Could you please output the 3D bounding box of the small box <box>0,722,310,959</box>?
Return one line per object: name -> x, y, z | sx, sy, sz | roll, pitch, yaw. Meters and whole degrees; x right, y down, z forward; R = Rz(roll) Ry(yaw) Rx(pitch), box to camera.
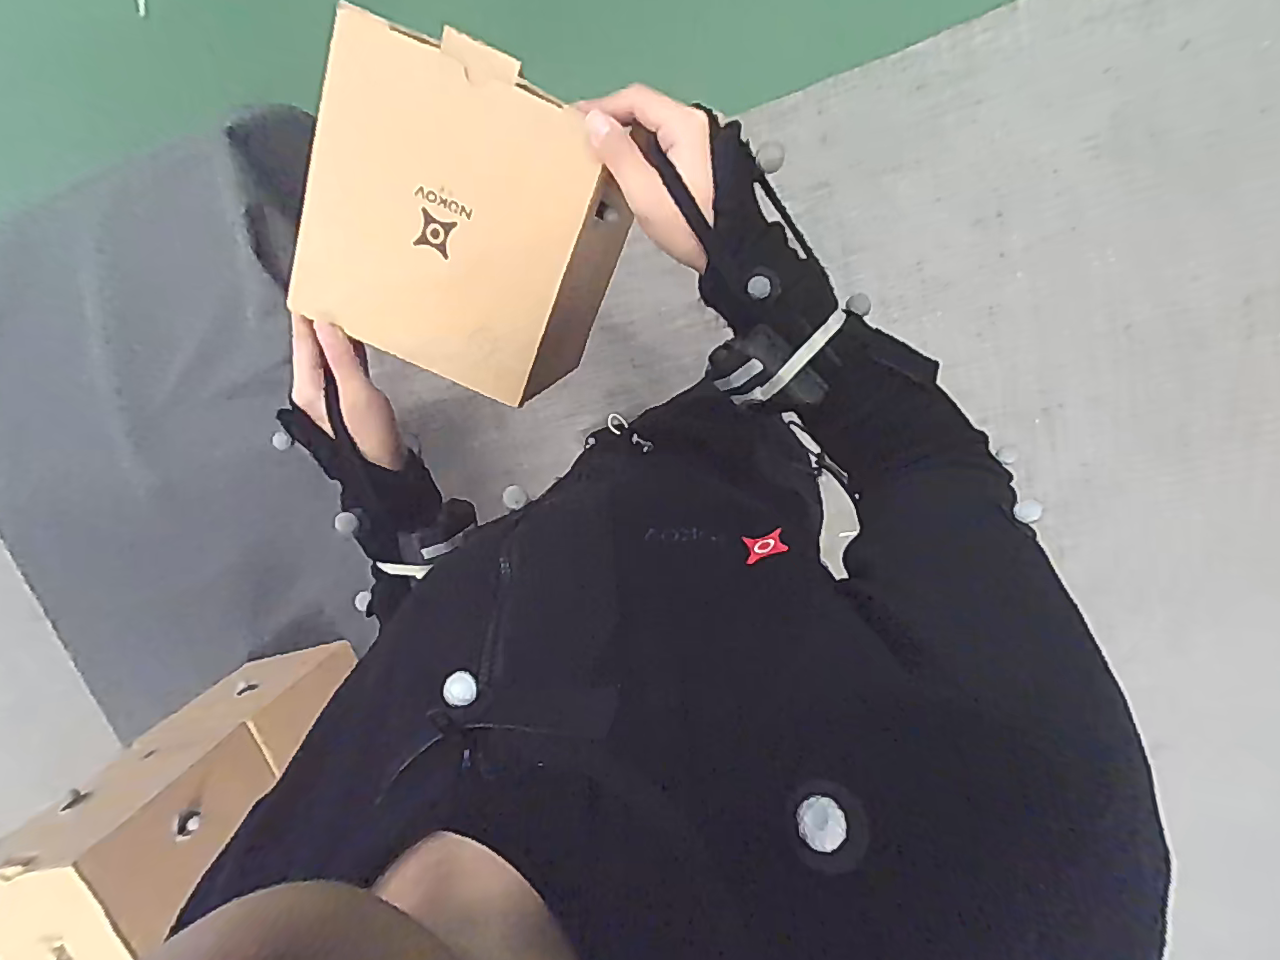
small box -> -0.491, 0.373, 0.551 | 0.168, 0.176, 0.179 | -16, 104, 13
